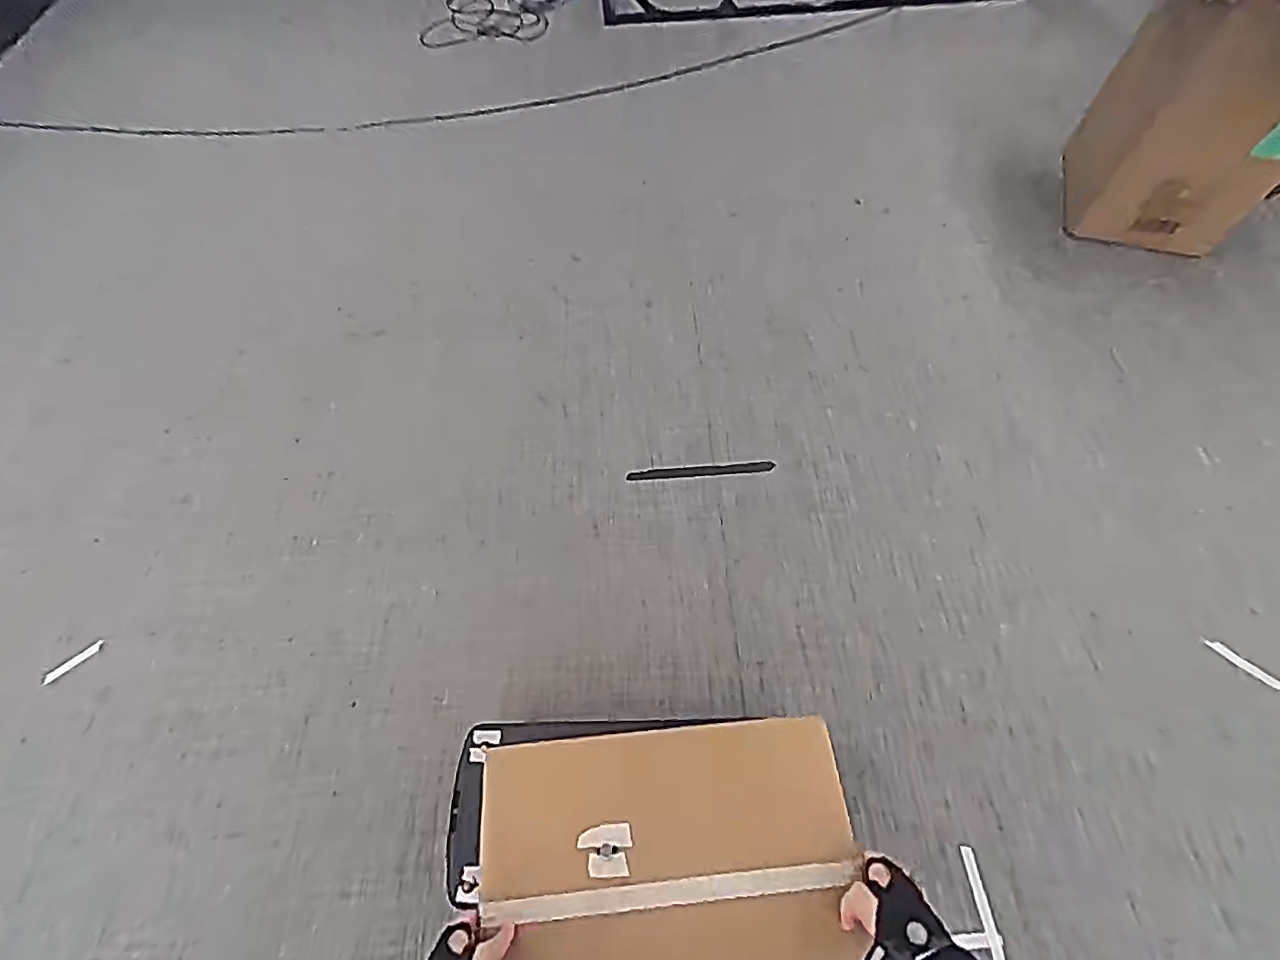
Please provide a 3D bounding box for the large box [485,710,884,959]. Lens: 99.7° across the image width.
[{"bbox_3d":[0.044,0.497,0.697,0.408,0.320,0.320,-6,62,0],"label":"large box"}]
